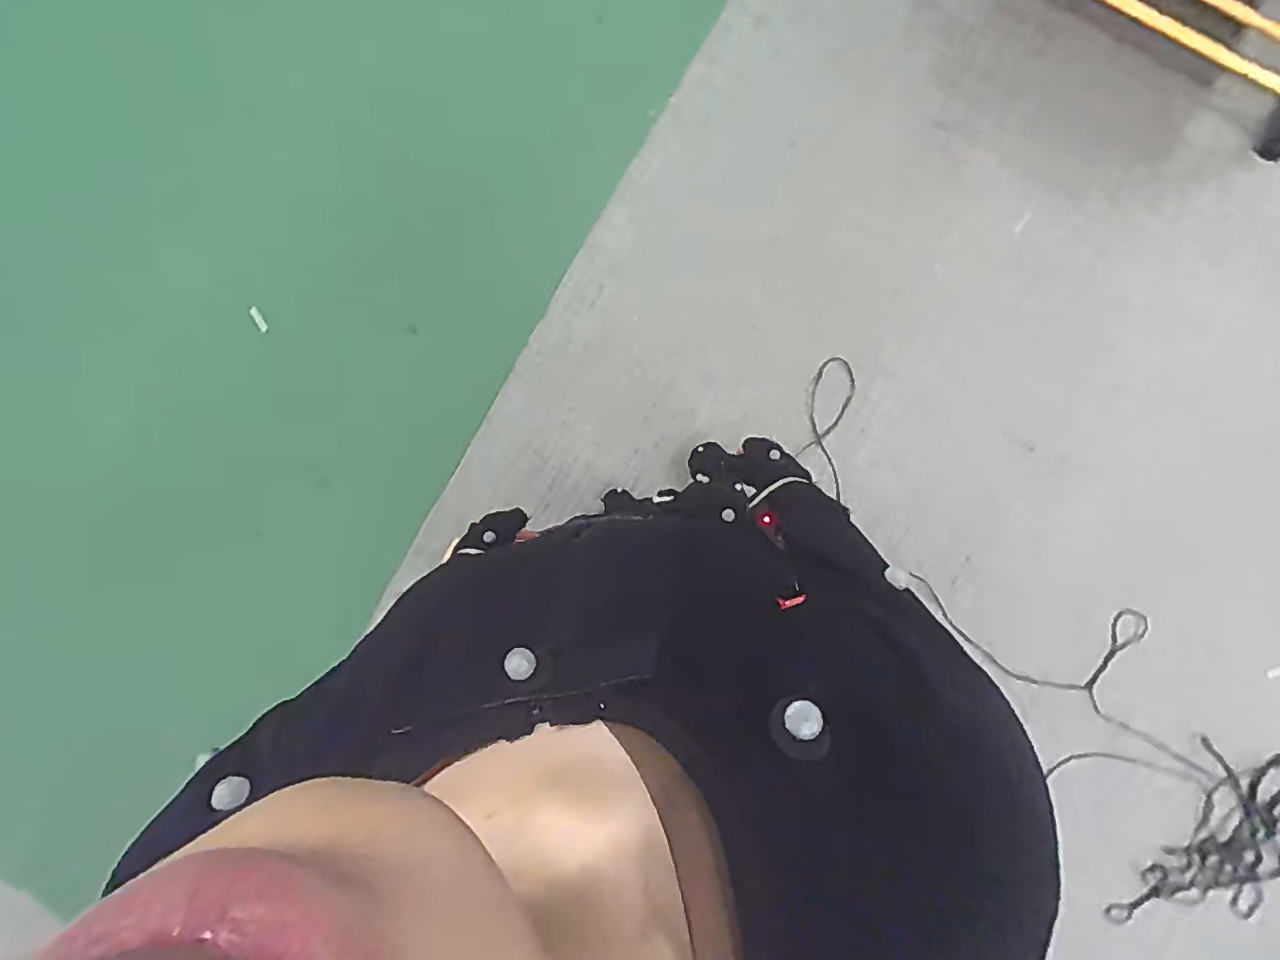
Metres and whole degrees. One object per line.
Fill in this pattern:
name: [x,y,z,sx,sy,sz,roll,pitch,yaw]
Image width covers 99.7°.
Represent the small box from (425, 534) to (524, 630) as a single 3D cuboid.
small box: [-0.419,0.256,1.409,0.168,0.176,0.179,30,90,2]
